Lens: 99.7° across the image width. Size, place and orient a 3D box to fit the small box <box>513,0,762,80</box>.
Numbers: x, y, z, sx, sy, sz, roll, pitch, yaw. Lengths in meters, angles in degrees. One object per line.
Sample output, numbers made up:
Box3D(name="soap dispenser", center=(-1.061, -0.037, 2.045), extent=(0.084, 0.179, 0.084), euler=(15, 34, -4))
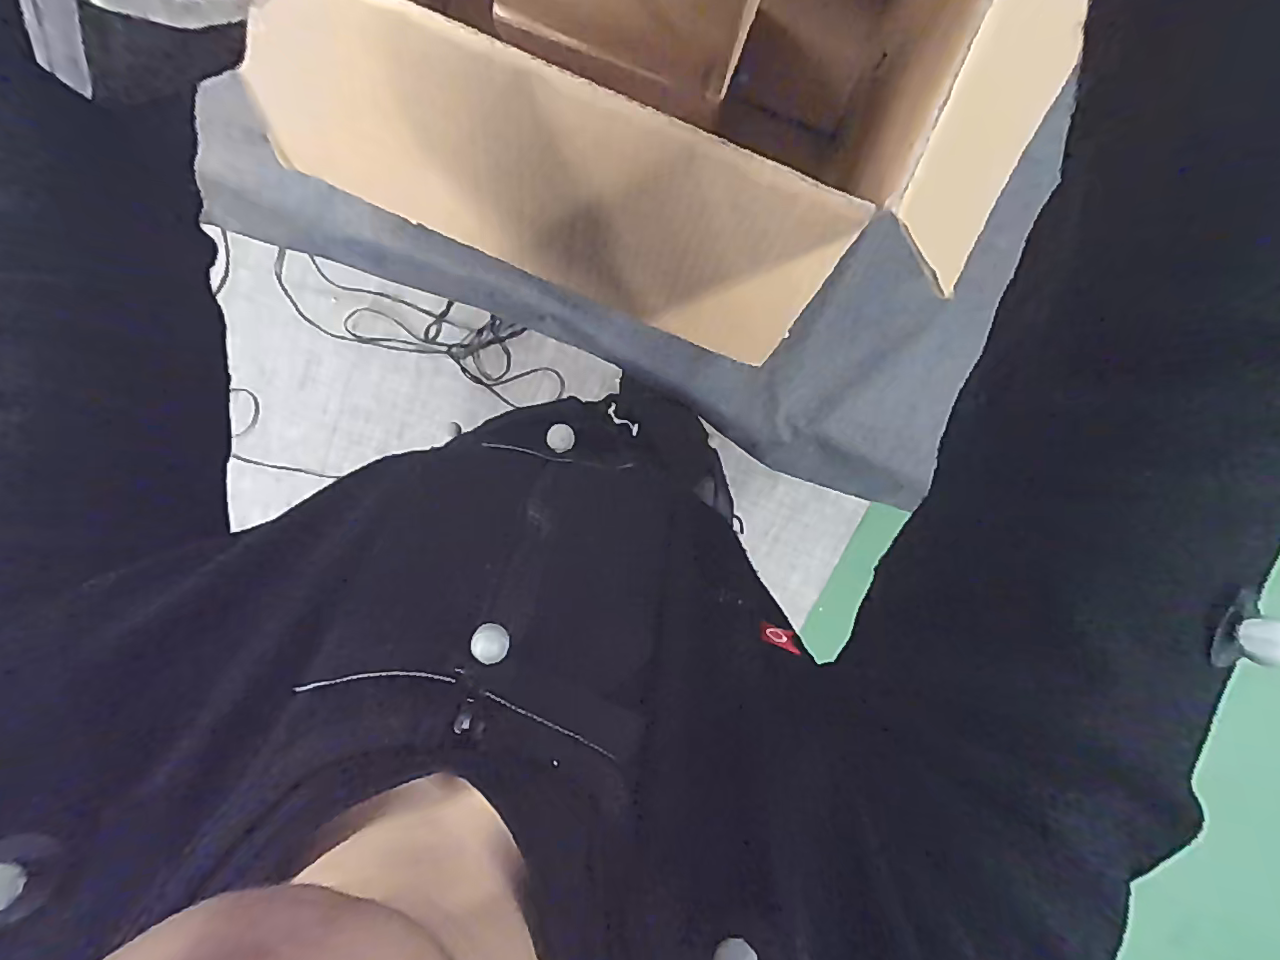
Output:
Box3D(name="small box", center=(0.010, -0.359, 0.286), extent=(0.179, 0.176, 0.168), euler=(22, 102, -3))
